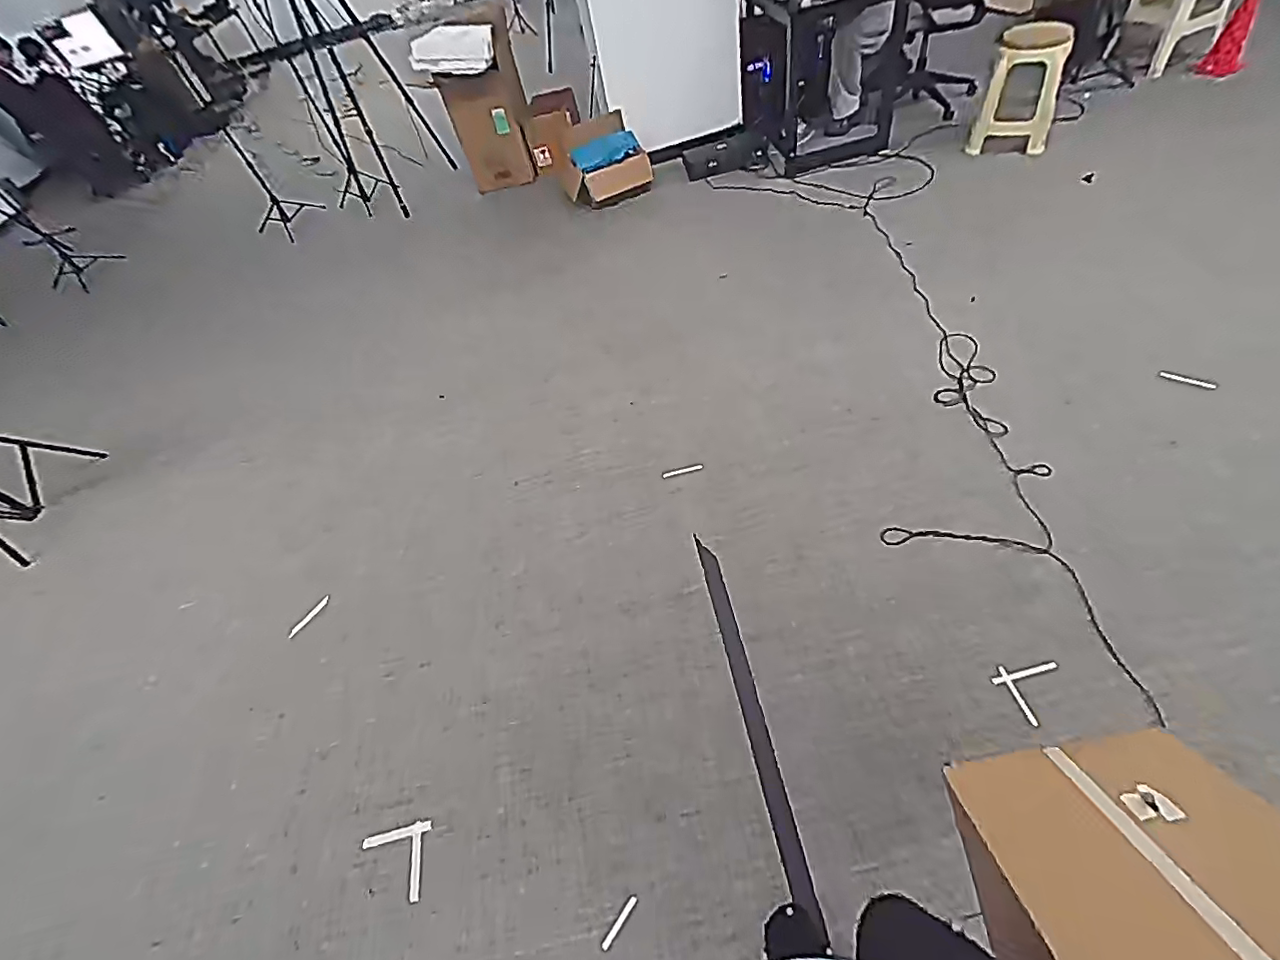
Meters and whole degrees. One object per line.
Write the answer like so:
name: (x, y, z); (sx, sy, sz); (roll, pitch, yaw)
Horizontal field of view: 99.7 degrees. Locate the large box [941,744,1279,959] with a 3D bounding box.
large box: (0.627, 0.588, 0.630); (0.320, 0.408, 0.320); (-15, 92, 10)
